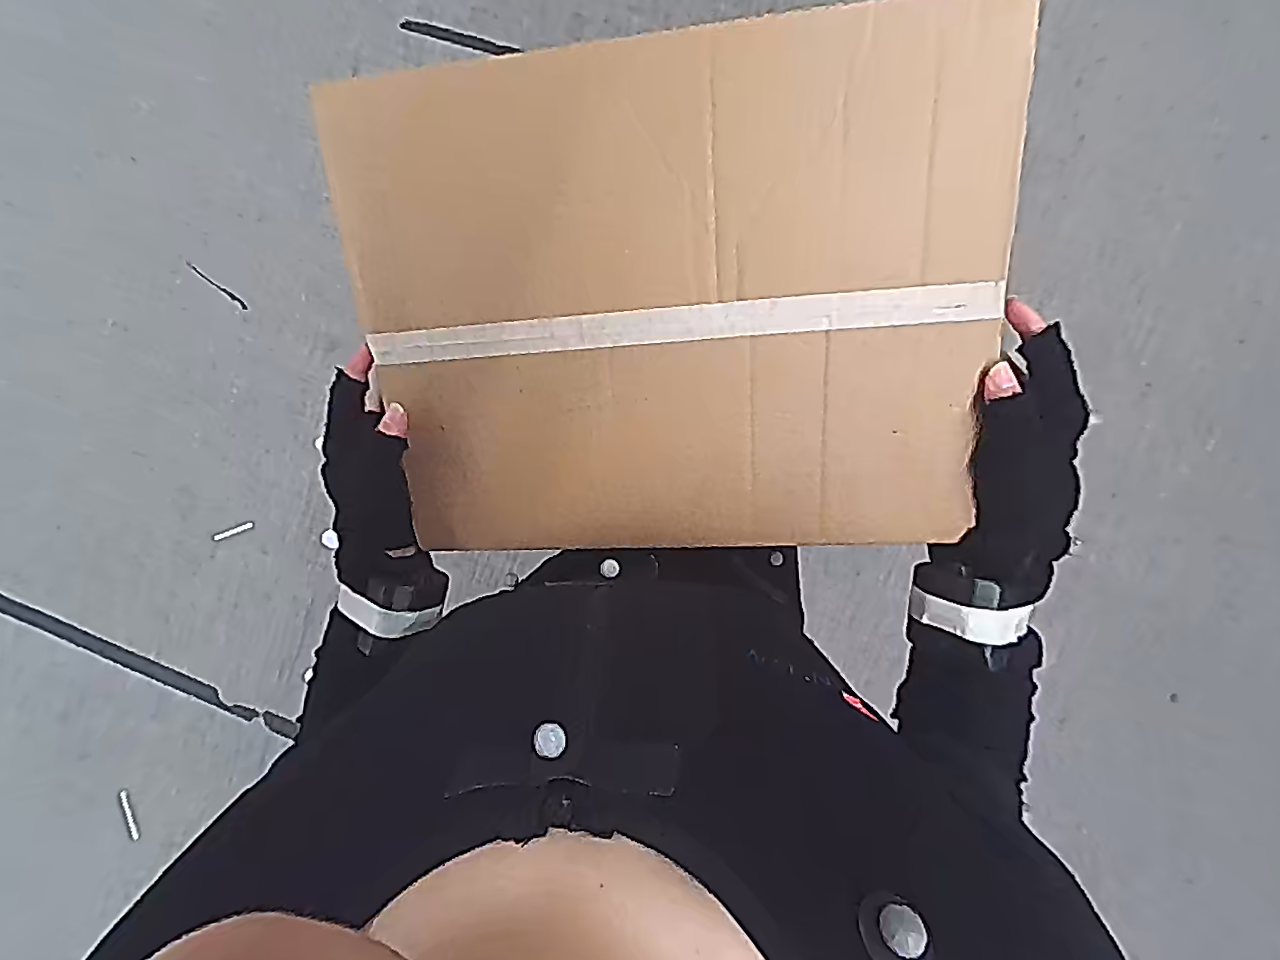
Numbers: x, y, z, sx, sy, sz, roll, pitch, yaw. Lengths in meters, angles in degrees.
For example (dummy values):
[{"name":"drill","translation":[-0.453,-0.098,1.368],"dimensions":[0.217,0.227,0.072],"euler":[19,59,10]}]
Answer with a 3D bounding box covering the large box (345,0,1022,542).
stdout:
[{"name":"large box","translation":[0.036,-0.150,0.498],"dimensions":[0.408,0.320,0.320],"euler":[-2,109,8]}]
